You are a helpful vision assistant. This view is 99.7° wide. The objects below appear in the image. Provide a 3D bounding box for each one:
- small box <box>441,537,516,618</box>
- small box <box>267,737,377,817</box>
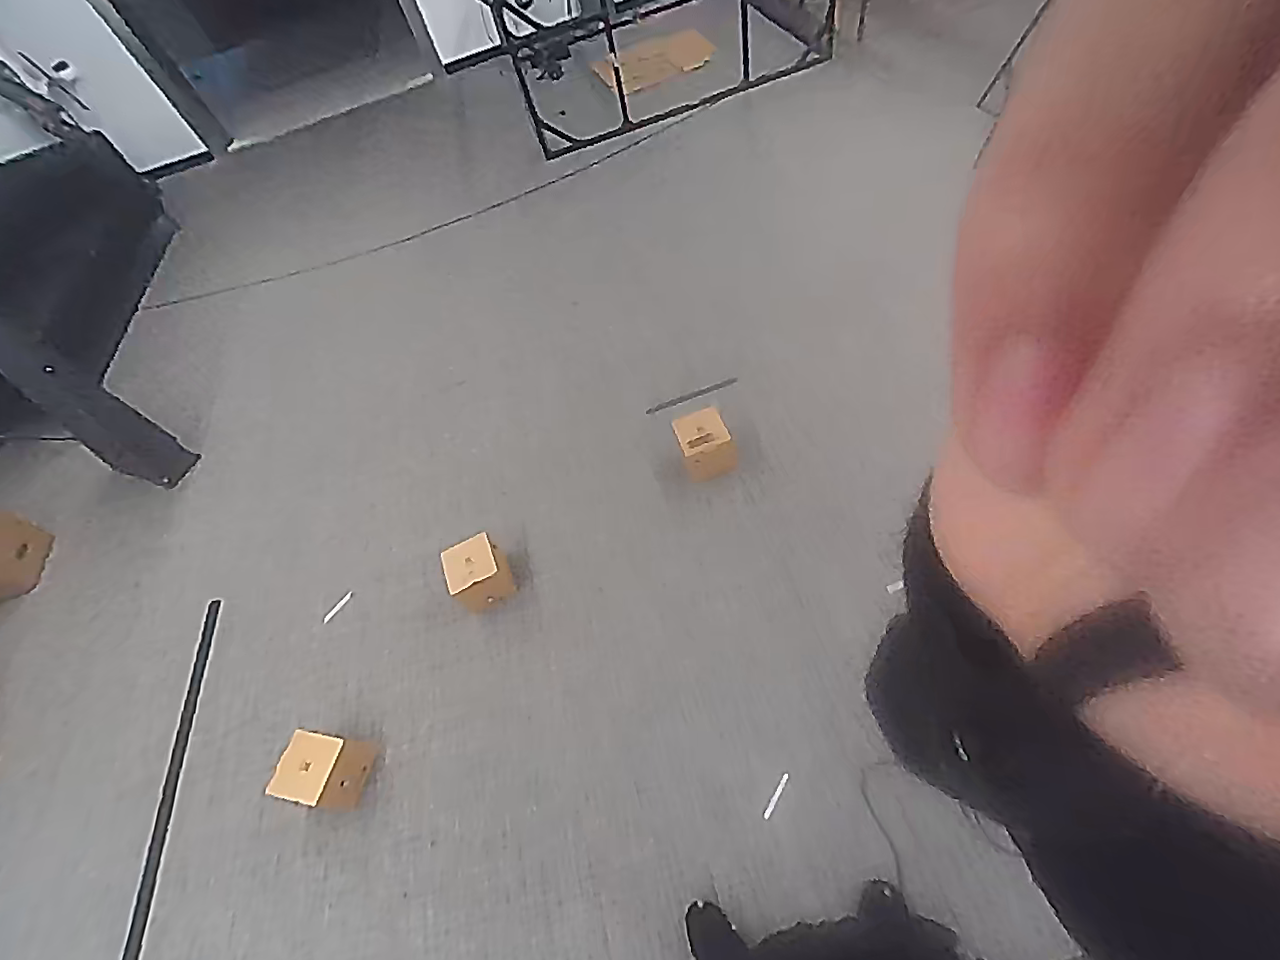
[{"bbox_3d":[-0.538,0.330,1.811,0.168,0.176,0.179,-27,54,-6],"label":"small box"},{"bbox_3d":[-0.894,0.848,1.539,0.179,0.176,0.168,2,56,16],"label":"small box"}]
